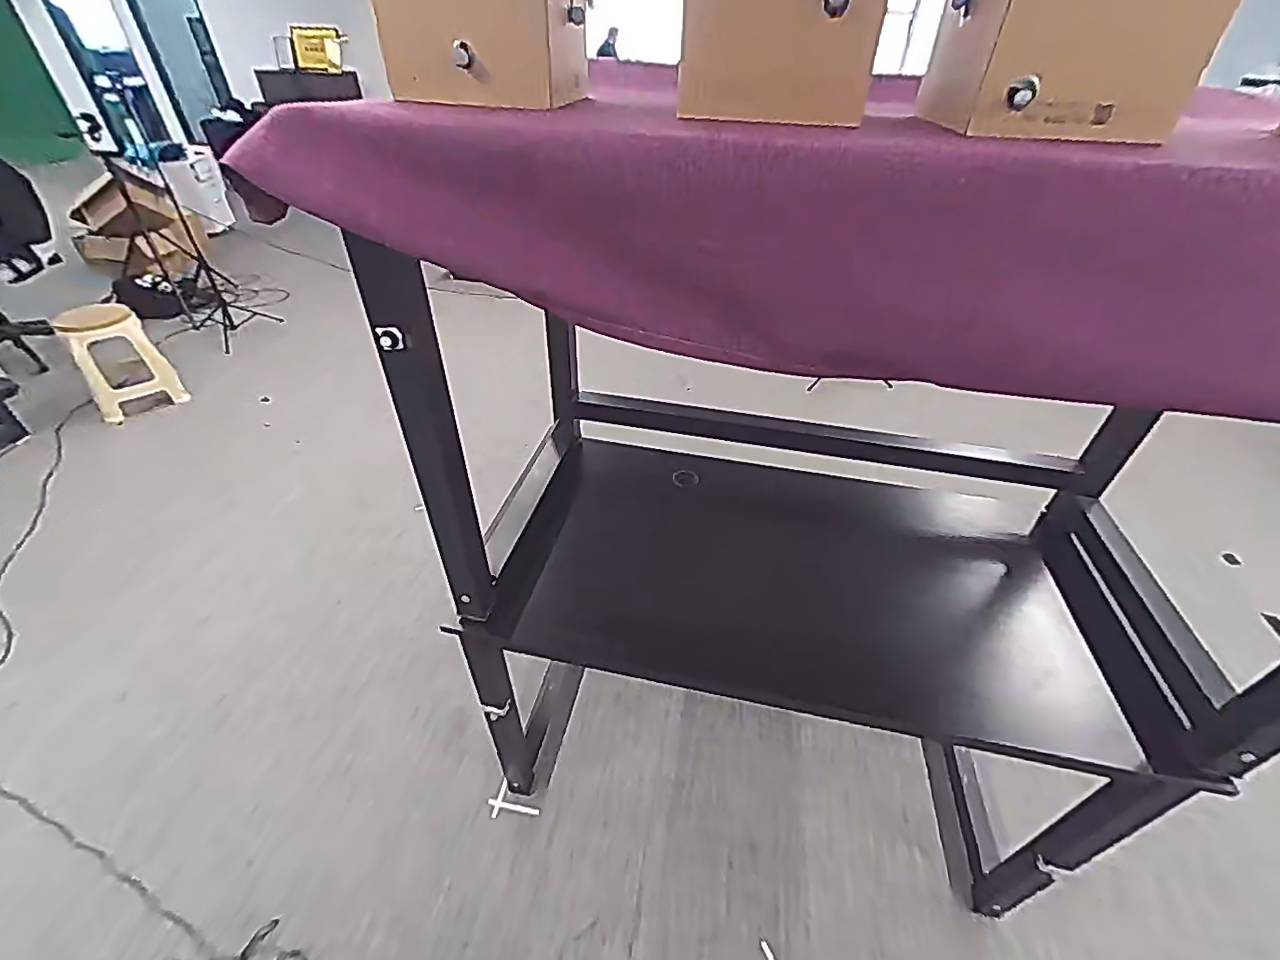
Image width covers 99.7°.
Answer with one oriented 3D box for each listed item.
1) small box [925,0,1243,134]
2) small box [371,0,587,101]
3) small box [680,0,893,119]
[{"bbox_3d":[0.376,-0.407,0.465,0.168,0.176,0.179,6,39,5],"label":"small box"},{"bbox_3d":[-0.154,-0.494,0.550,0.179,0.176,0.168,8,39,5],"label":"small box"},{"bbox_3d":[0.140,-0.449,0.510,0.179,0.176,0.168,9,39,9],"label":"small box"}]
